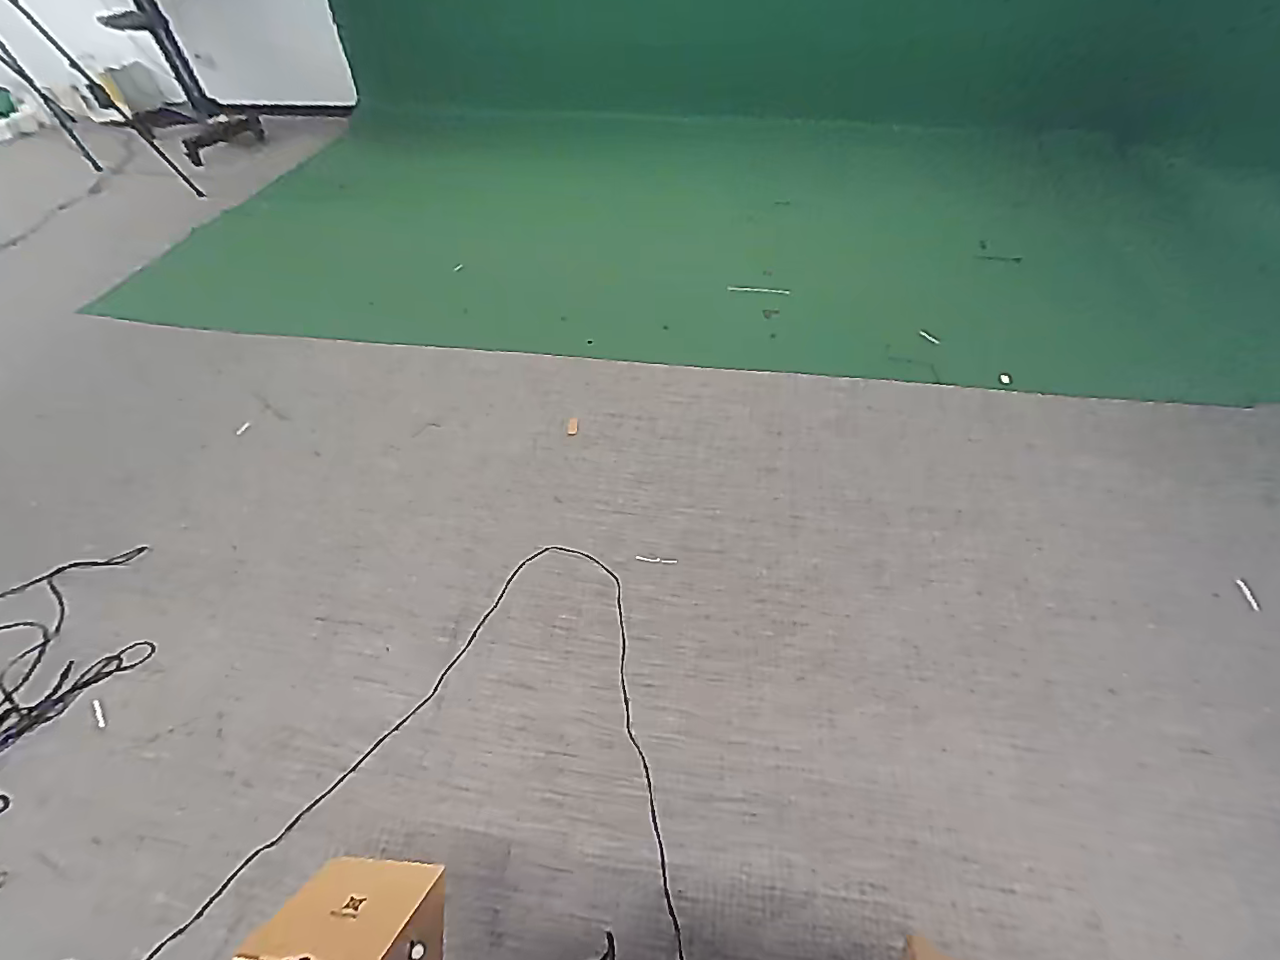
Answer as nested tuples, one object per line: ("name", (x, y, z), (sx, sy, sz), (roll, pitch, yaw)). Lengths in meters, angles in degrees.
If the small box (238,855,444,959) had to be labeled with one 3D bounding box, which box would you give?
("small box", (-0.363, 0.610, 0.667), (0.168, 0.179, 0.176), (1, 87, 5))
